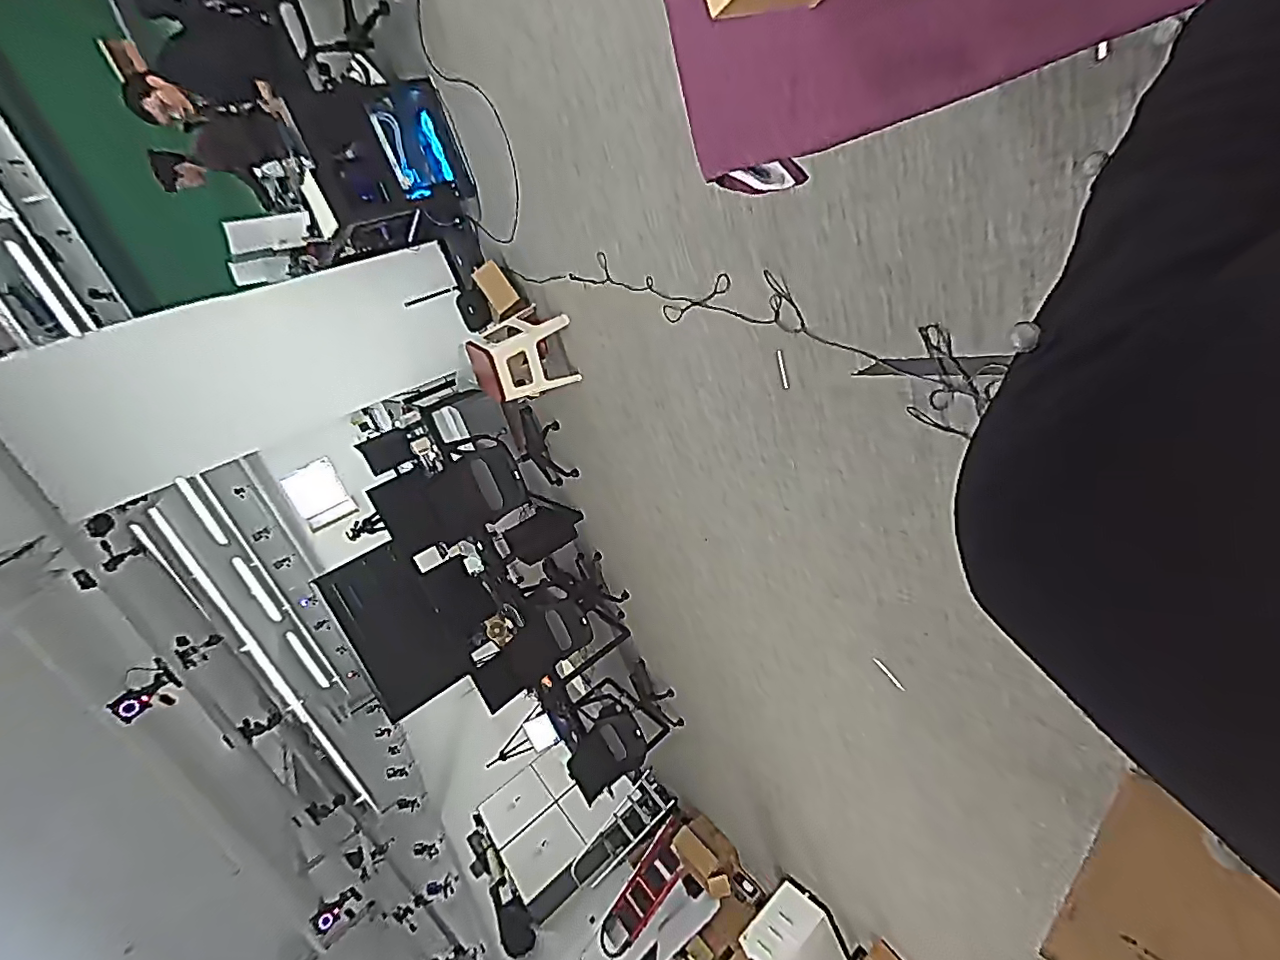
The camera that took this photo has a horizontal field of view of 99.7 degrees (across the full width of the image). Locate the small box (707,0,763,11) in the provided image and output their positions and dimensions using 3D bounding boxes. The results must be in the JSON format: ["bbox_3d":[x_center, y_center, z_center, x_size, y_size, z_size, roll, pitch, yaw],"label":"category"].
[{"bbox_3d":[0.142,-0.570,0.475,0.168,0.176,0.179,5,121,58],"label":"small box"}]
